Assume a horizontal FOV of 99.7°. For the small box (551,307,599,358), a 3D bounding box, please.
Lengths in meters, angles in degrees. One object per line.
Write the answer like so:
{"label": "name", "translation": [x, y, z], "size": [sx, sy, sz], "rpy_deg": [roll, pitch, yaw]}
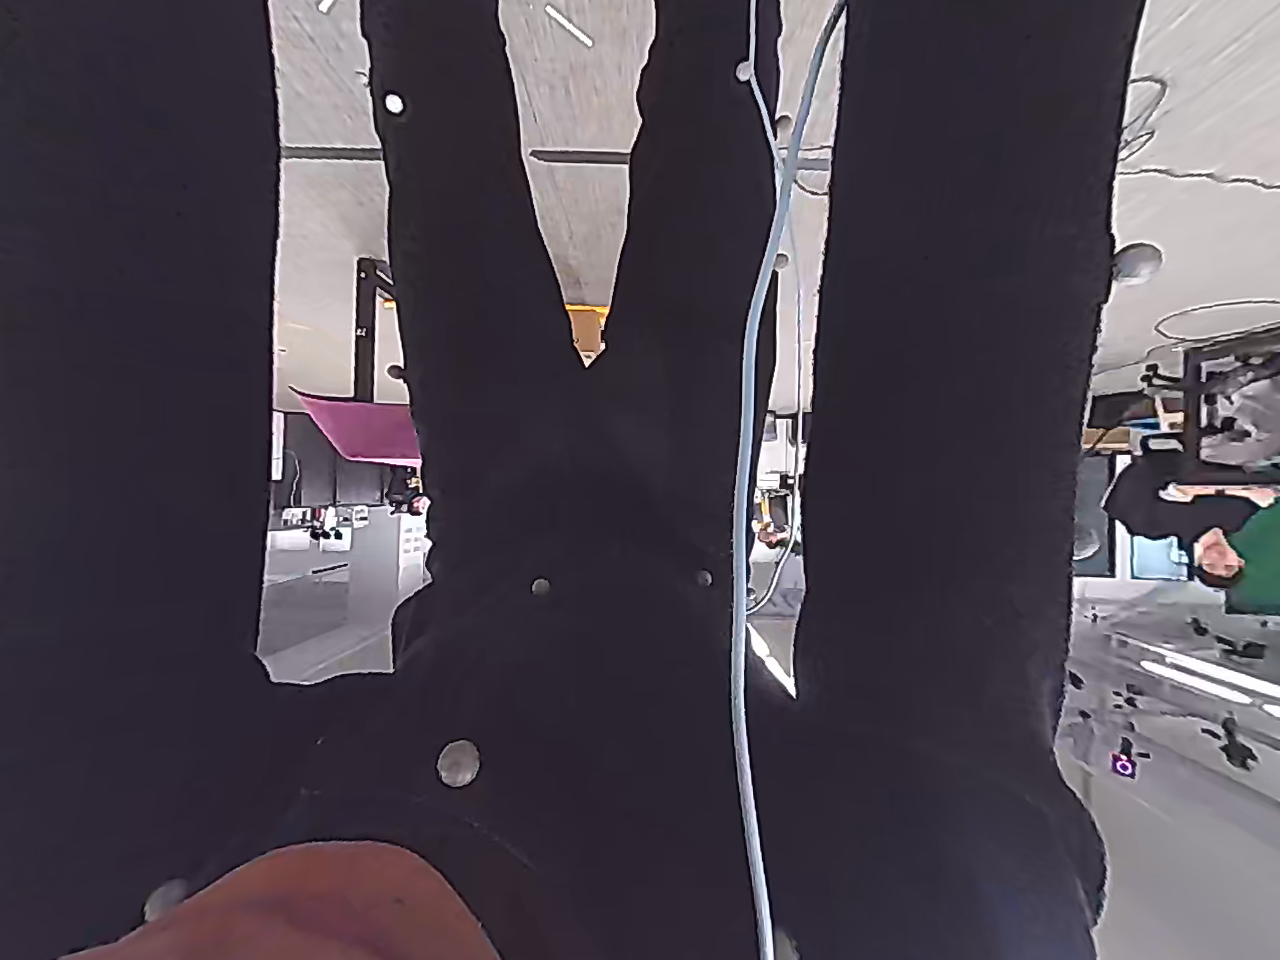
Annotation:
{"label": "small box", "translation": [-0.264, -0.607, 2.232], "size": [0.179, 0.176, 0.168], "rpy_deg": [3, 180, 3]}
